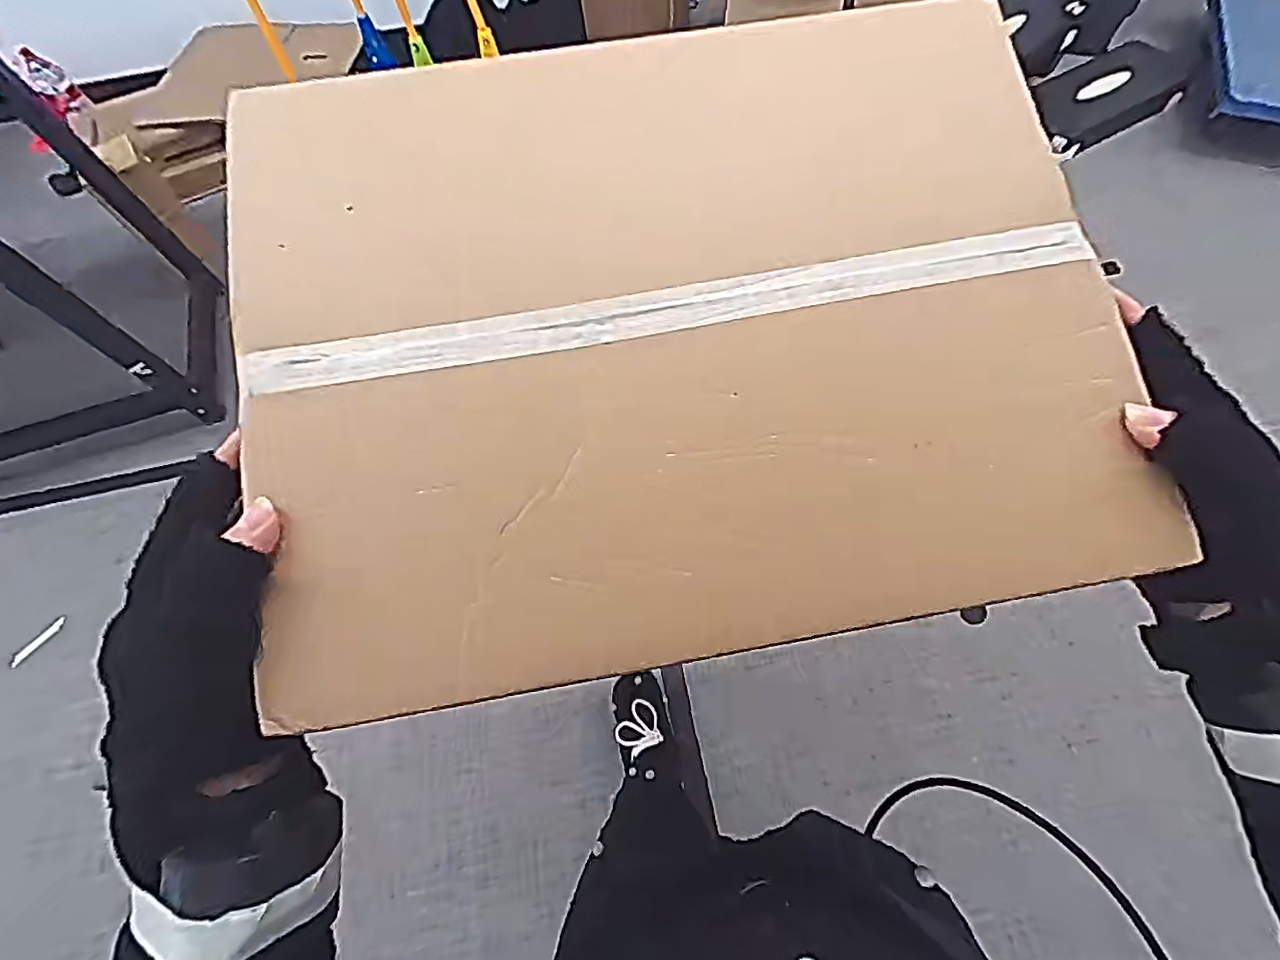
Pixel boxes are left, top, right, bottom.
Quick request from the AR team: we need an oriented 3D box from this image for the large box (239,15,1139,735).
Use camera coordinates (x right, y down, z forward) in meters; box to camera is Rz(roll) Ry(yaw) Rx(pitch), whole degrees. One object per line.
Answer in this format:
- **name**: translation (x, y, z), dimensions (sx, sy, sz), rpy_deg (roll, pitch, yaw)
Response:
- **large box**: translation (0.012, -0.049, 0.413), dimensions (0.408, 0.320, 0.320), rpy_deg (-10, 79, -3)
